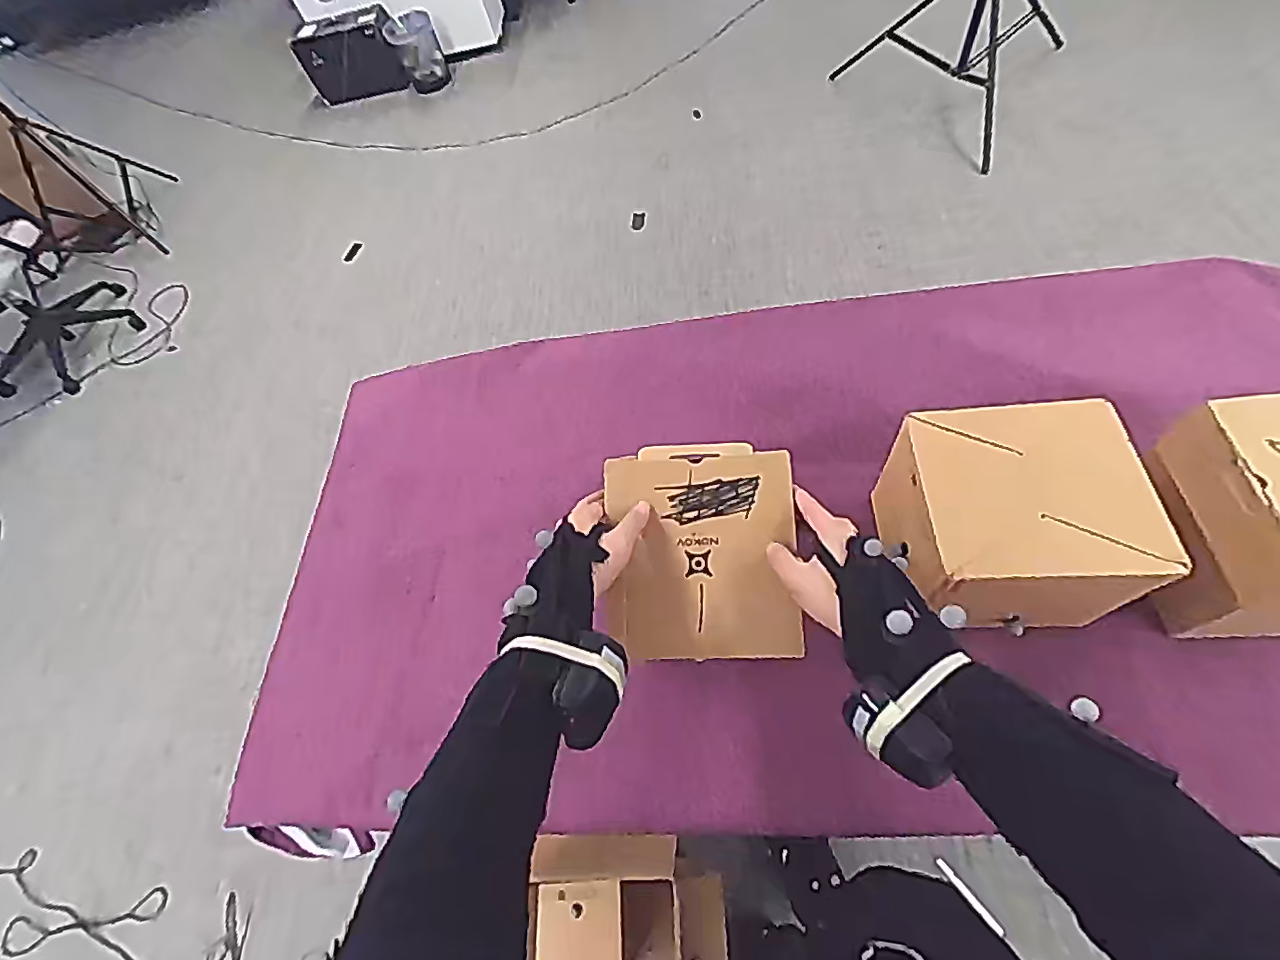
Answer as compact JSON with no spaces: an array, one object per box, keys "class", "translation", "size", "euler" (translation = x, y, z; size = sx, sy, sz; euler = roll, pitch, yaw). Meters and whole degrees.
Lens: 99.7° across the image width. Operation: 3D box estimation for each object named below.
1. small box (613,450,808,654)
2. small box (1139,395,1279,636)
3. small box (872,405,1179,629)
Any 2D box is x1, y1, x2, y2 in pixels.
[{"class":"small box","translation":[0.067,0.077,0.548],"size":[0.168,0.176,0.179],"euler":[-3,79,7]},{"class":"small box","translation":[0.592,0.037,0.489],"size":[0.179,0.176,0.168],"euler":[-4,58,10]},{"class":"small box","translation":[0.350,0.043,0.535],"size":[0.179,0.176,0.168],"euler":[-4,59,10]}]
